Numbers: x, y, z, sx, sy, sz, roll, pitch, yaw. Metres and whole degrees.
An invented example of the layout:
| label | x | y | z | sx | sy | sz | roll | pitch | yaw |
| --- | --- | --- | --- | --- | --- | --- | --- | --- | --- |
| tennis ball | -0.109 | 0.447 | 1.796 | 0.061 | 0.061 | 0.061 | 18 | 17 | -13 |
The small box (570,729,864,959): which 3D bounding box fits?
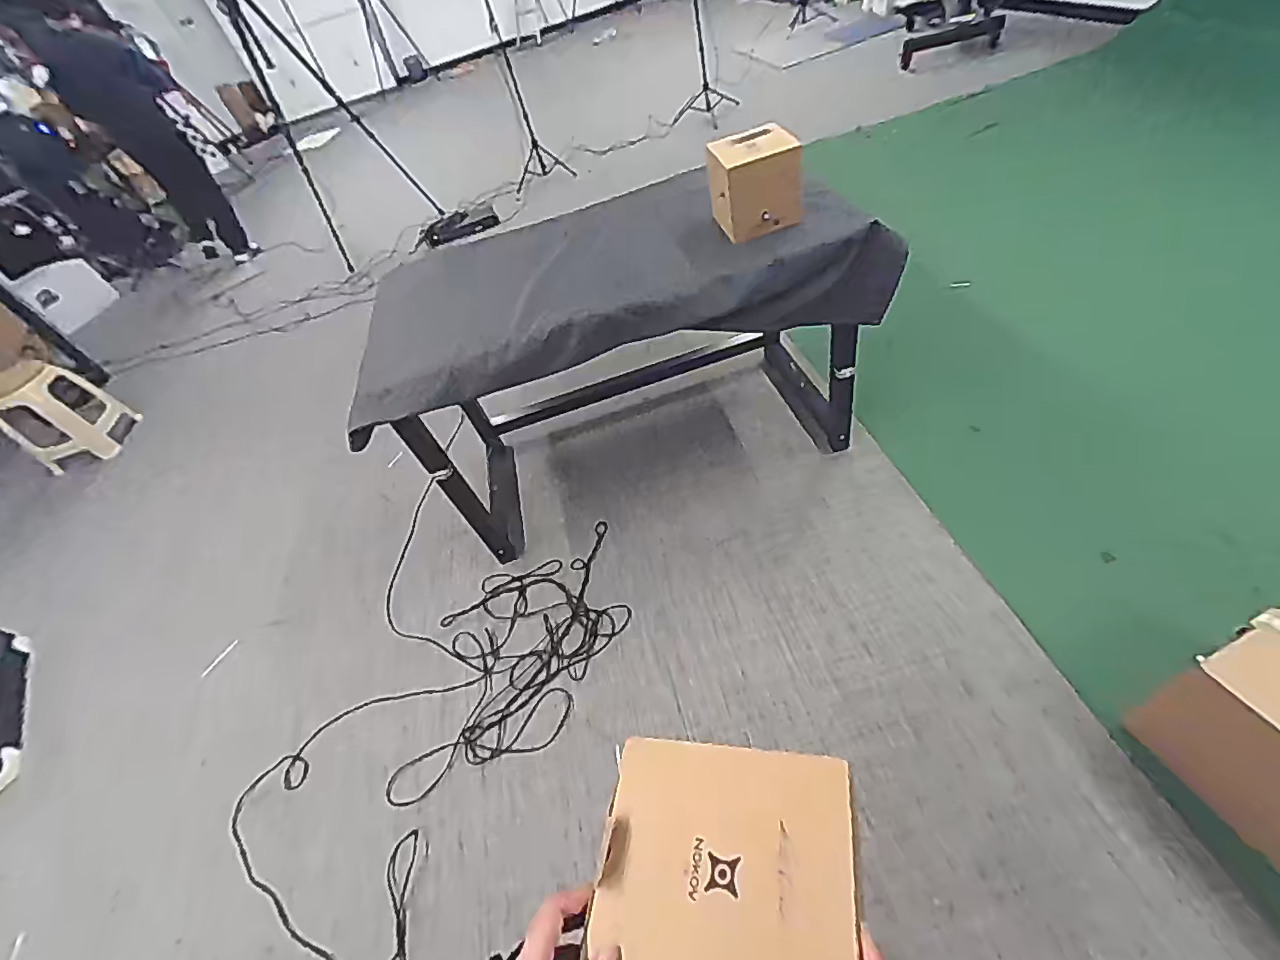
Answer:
| label | x | y | z | sx | sy | sz | roll | pitch | yaw |
| --- | --- | --- | --- | --- | --- | --- | --- | --- | --- |
| small box | 0.072 | 0.311 | 0.411 | 0.179 | 0.176 | 0.168 | -4 | 45 | 20 |
